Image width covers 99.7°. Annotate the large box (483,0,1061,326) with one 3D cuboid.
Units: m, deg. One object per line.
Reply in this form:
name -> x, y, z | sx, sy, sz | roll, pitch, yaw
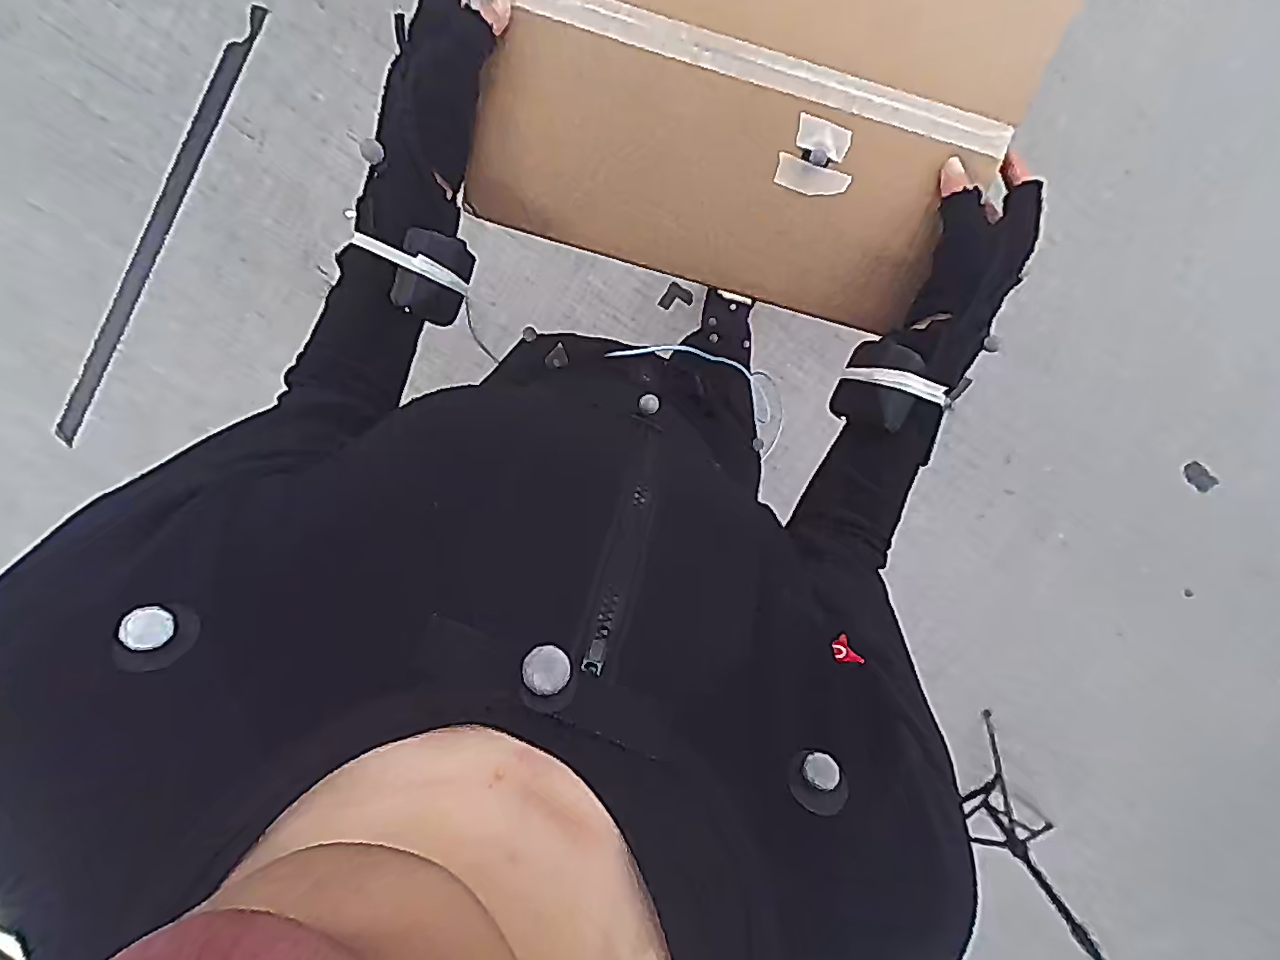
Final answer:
large box -> 0.094, -0.386, 0.548 | 0.408, 0.320, 0.320 | 15, 118, -5
